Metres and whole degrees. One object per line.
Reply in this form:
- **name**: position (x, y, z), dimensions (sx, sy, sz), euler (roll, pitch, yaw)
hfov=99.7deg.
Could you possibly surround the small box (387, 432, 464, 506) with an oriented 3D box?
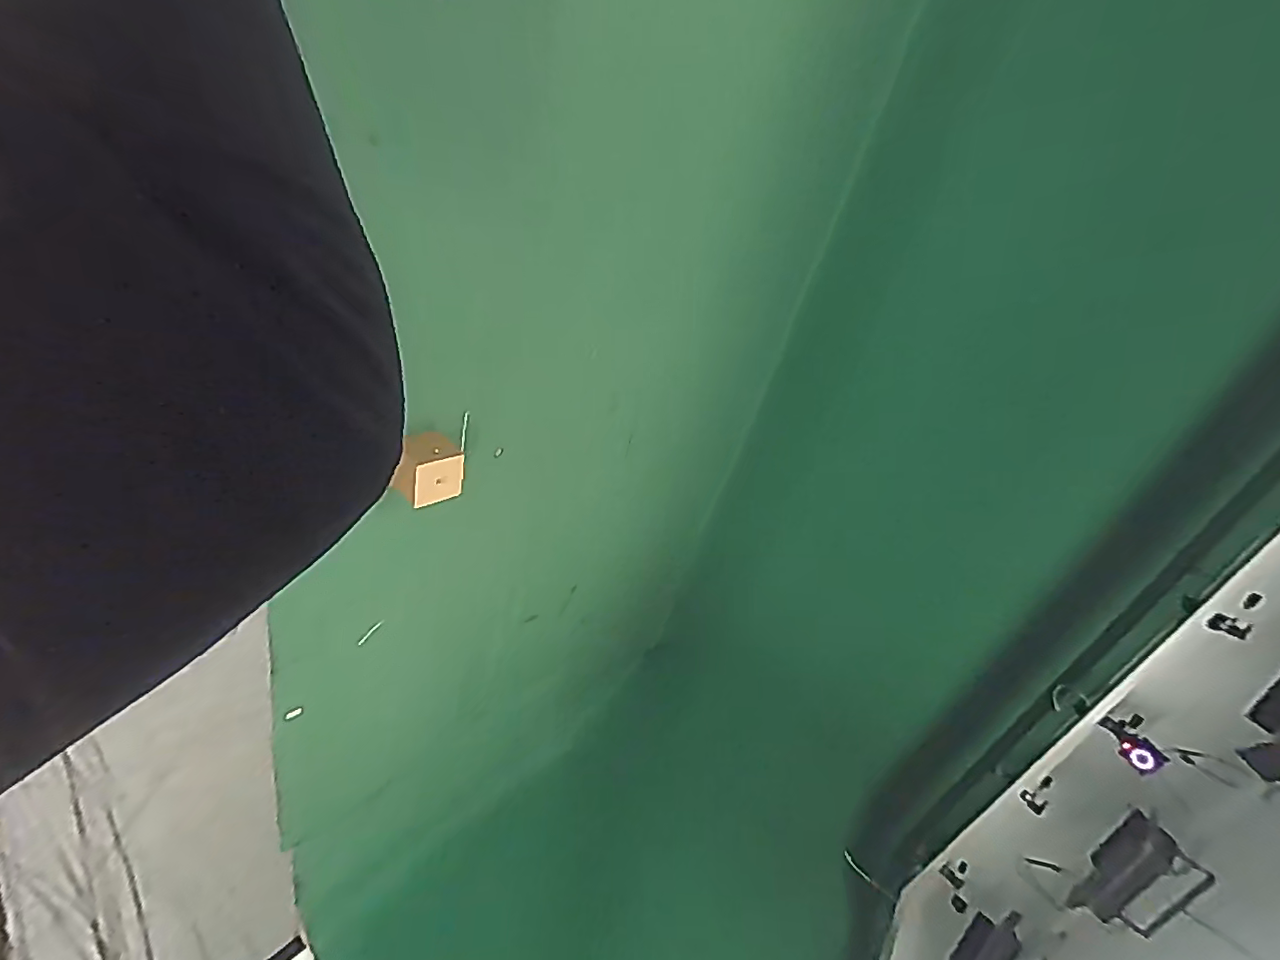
- **small box**: position (-0.714, -0.045, 1.797), dimensions (0.179, 0.176, 0.168), euler (-22, 136, -47)
